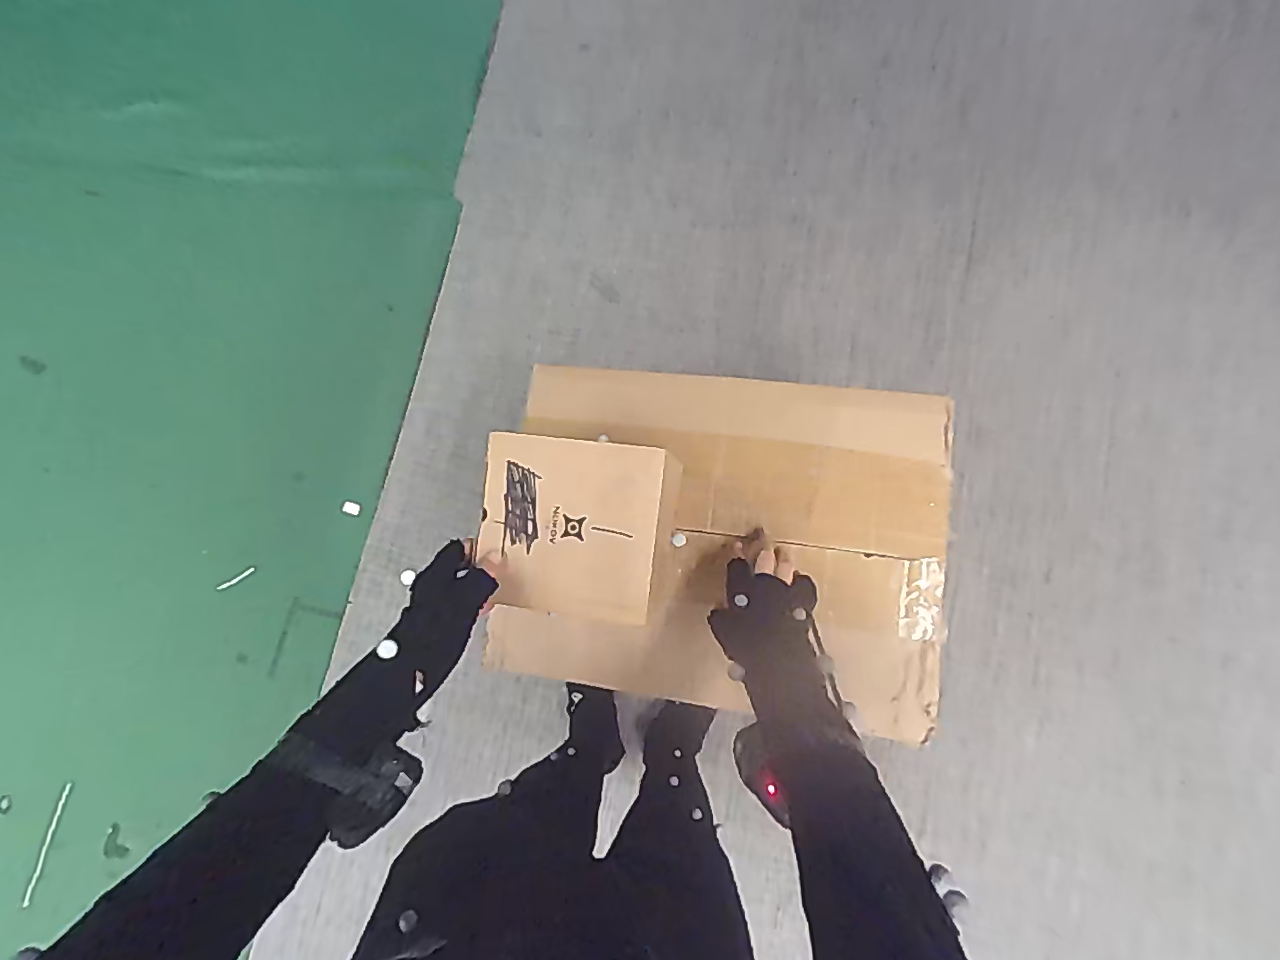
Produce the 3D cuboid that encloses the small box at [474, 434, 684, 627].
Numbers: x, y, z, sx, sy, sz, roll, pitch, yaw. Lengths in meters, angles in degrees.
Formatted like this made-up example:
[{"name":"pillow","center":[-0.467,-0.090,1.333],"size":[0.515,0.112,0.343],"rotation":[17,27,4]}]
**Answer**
[{"name":"small box","center":[-0.053,0.051,0.588],"size":[0.179,0.176,0.168],"rotation":[7,87,9]}]
